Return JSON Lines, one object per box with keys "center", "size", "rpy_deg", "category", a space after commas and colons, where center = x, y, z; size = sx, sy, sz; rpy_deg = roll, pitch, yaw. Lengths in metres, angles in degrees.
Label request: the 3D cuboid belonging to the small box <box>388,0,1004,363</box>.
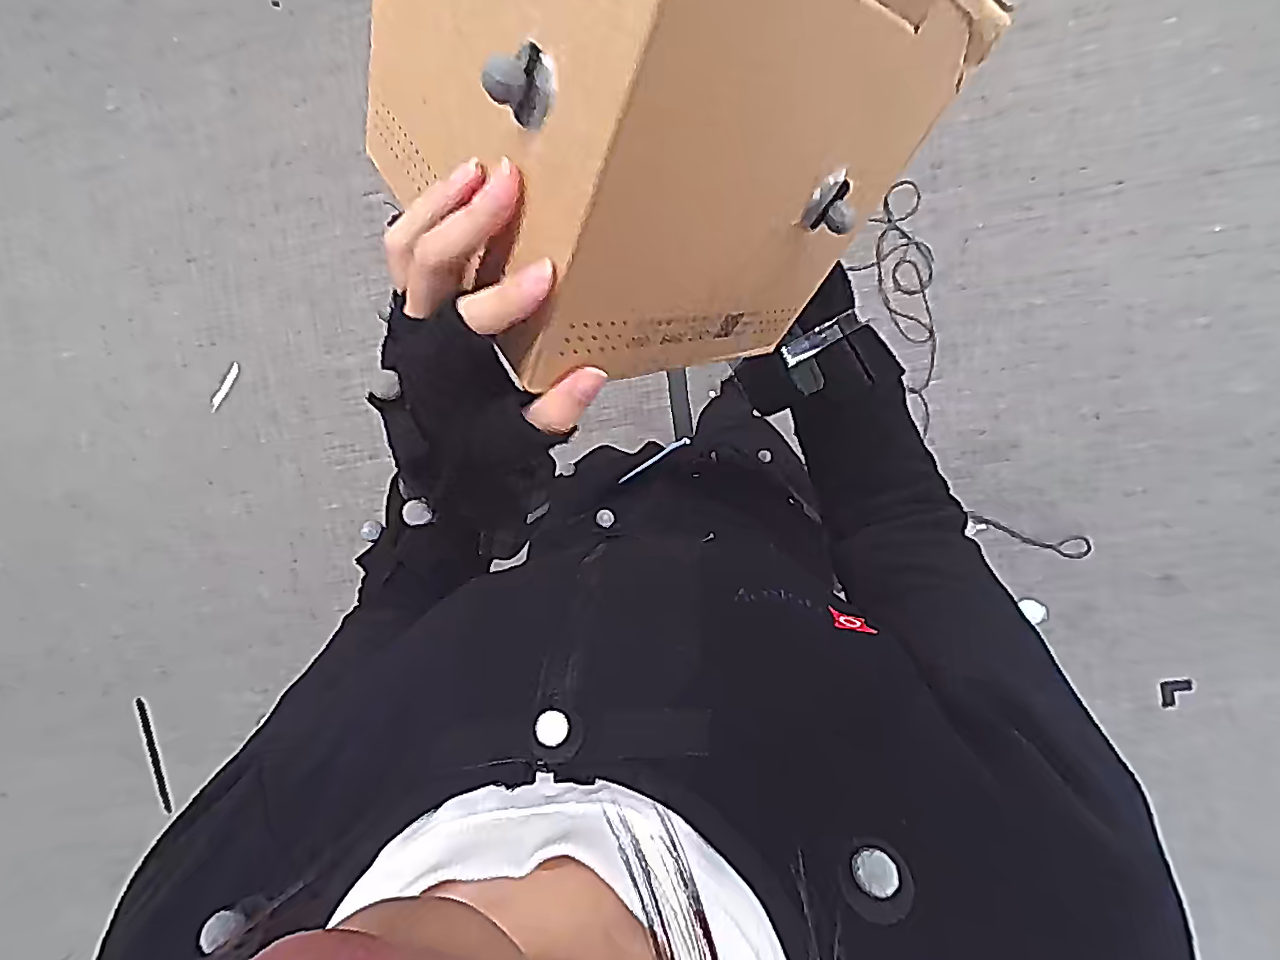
{"center": [0.004, -0.168, 0.244], "size": [0.179, 0.168, 0.176], "rpy_deg": [54, 137, 20], "category": "small box"}
